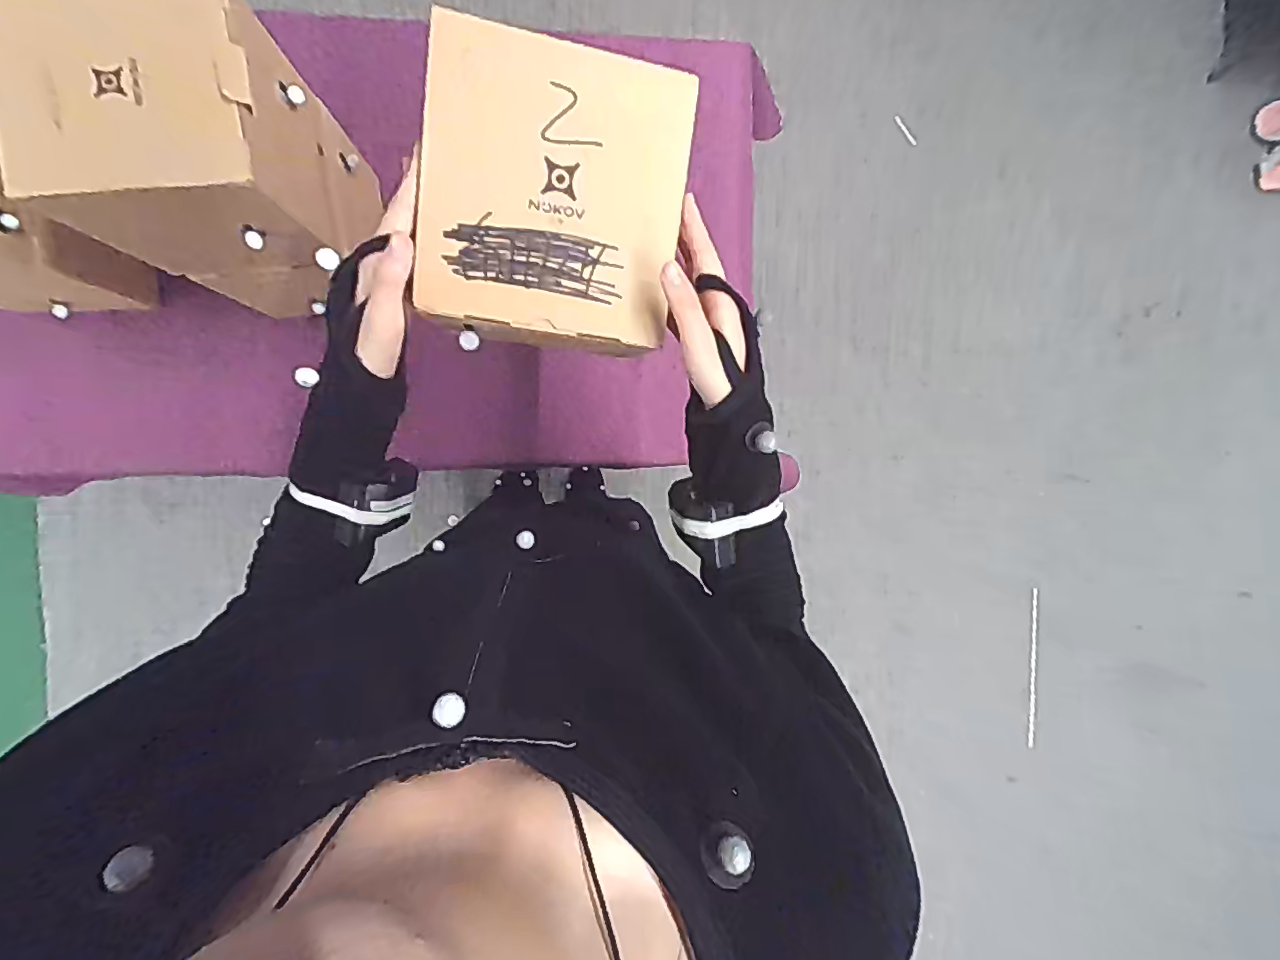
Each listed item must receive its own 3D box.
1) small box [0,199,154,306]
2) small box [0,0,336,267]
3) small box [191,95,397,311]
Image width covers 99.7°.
[{"bbox_3d":[-0.714,-0.306,0.626,0.179,0.176,0.168,-3,93,-6],"label":"small box"},{"bbox_3d":[-0.403,-0.308,0.493,0.179,0.176,0.168,-6,93,-5],"label":"small box"},{"bbox_3d":[-0.417,-0.320,0.656,0.168,0.176,0.179,-8,95,-5],"label":"small box"}]
